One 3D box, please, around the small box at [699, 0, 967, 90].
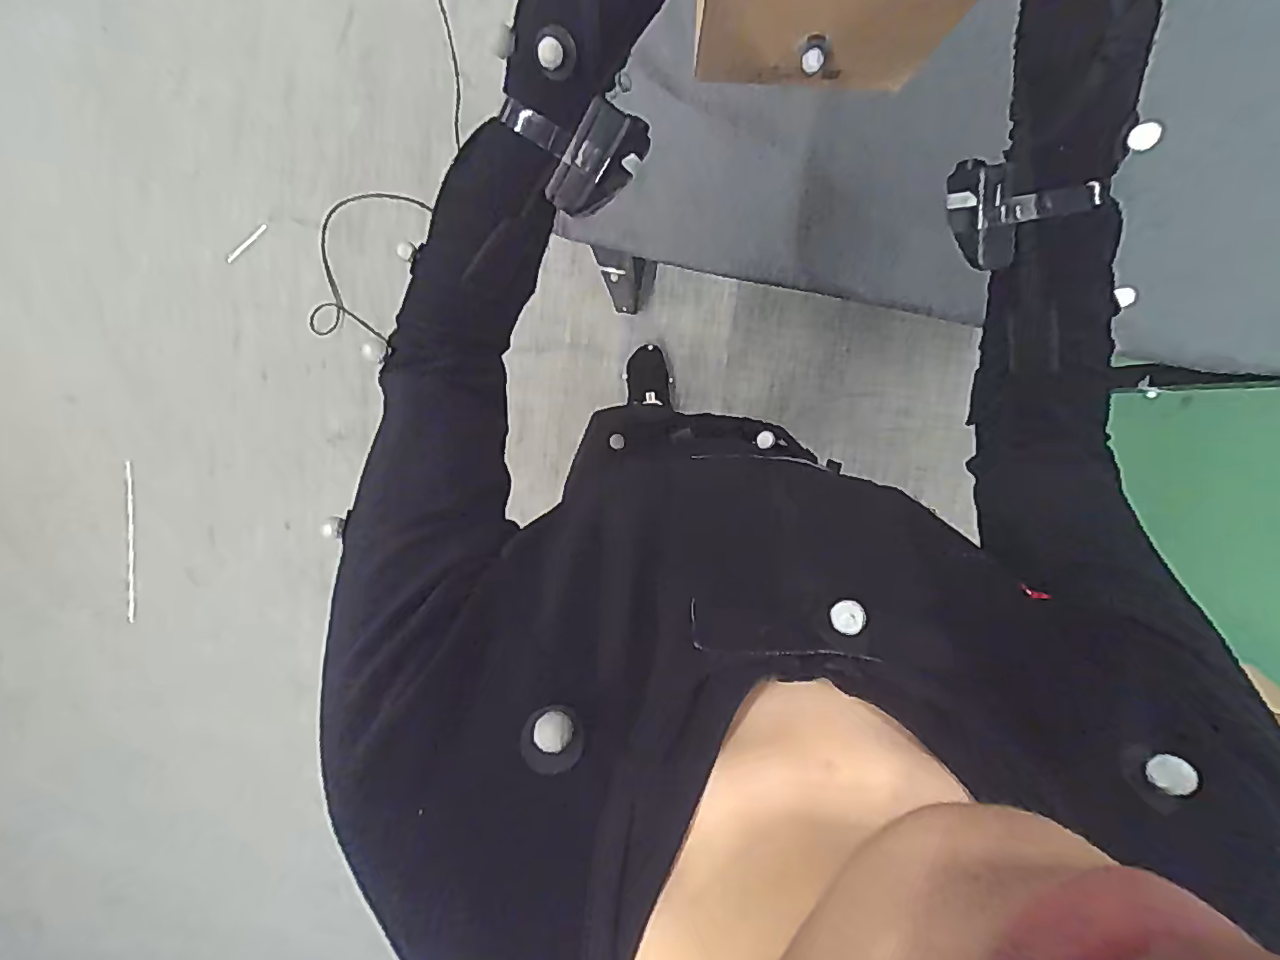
[{"bbox_3d":[0.129,-0.388,0.336,0.168,0.176,0.179,3,100,1],"label":"small box"}]
